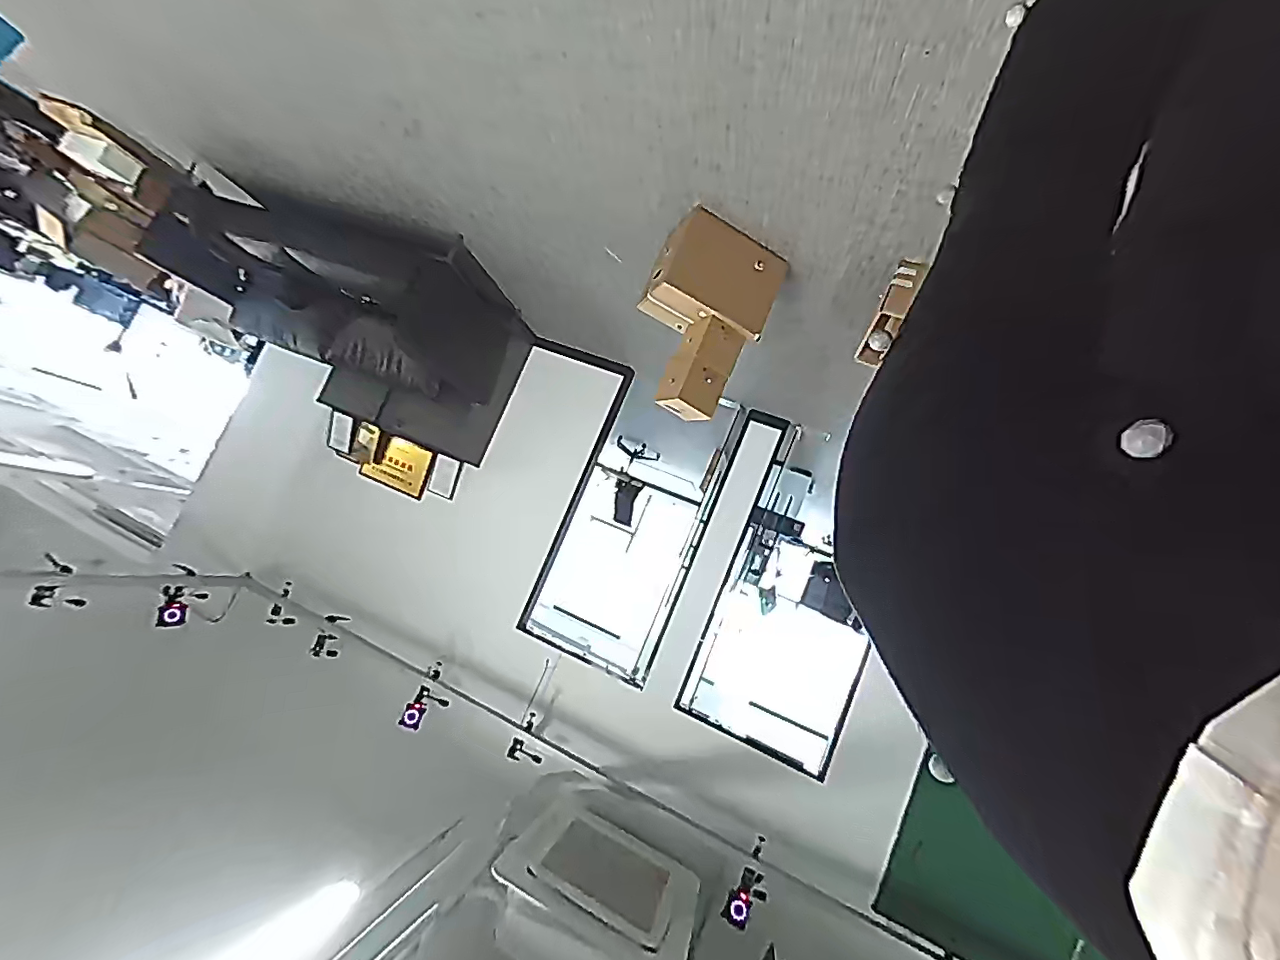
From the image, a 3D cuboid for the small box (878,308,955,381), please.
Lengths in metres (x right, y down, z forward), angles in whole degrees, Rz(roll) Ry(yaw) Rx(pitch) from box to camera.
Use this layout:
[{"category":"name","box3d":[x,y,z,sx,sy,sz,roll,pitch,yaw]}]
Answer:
[{"category":"small box","box3d":[0.958,-0.475,1.882,0.179,0.176,0.168,21,173,18]}]

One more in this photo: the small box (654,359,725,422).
[{"category":"small box","box3d":[0.186,-0.328,1.990,0.168,0.176,0.179,26,172,-27]}]
